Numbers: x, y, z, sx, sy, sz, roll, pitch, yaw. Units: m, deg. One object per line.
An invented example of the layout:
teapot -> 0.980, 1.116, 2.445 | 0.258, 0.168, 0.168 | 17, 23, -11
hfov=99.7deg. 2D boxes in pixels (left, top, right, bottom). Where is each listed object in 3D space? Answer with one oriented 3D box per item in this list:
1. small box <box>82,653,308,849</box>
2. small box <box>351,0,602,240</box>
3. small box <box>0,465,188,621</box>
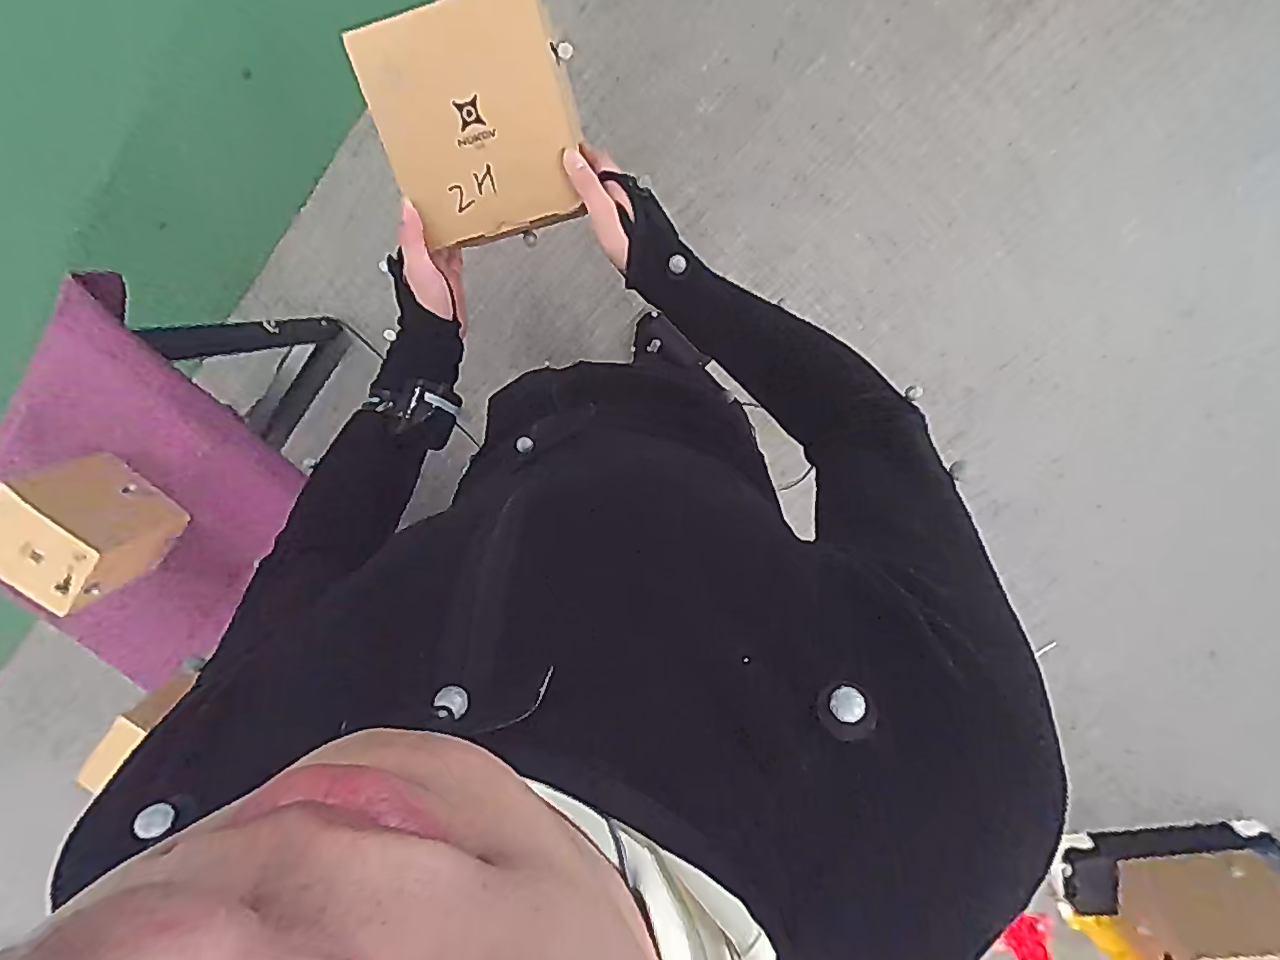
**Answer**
small box -> -0.660, 0.402, 0.825 | 0.179, 0.176, 0.168 | 41, 106, -9
small box -> -0.138, -0.349, 0.536 | 0.168, 0.176, 0.179 | -12, 116, 5
small box -> -0.937, 0.094, 0.913 | 0.179, 0.176, 0.168 | 42, 107, -10
